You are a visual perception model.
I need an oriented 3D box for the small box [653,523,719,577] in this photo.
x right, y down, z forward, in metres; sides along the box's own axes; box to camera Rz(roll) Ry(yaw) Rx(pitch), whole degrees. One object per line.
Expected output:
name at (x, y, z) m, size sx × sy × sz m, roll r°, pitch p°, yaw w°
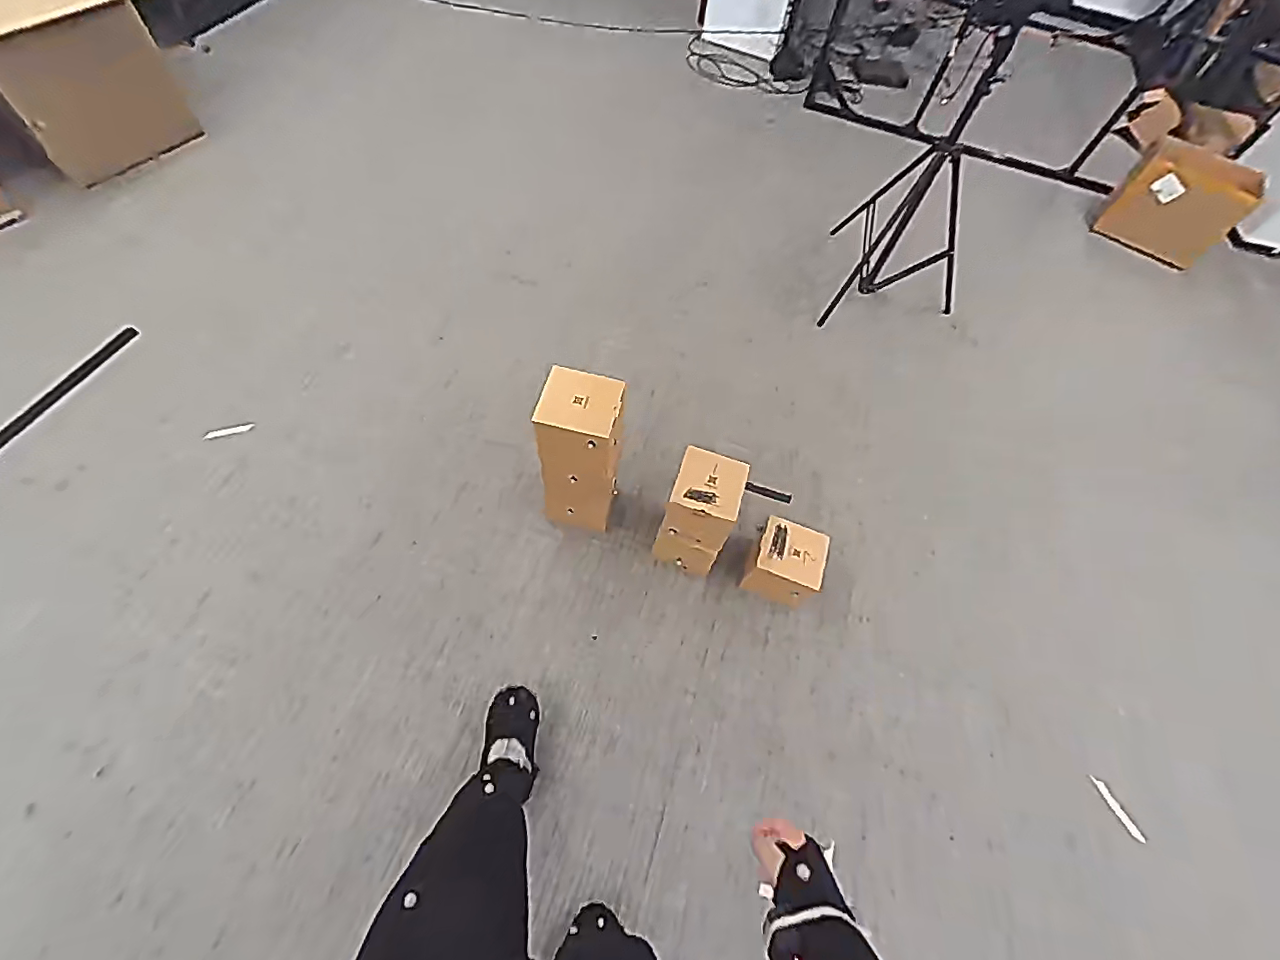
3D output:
small box at (0.144, 0.144, 1.513) m, size 0.168 × 0.176 × 0.179 m, roll 21°, pitch 60°, yaw 6°

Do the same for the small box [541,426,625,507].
small box at (-0.145, -0.046, 1.400) m, size 0.179 × 0.176 × 0.168 m, roll 13°, pitch 61°, yaw 0°

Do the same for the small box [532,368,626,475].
small box at (-0.139, -0.130, 1.259) m, size 0.179 × 0.176 × 0.168 m, roll 13°, pitch 60°, yaw 1°

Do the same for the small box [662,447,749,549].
small box at (0.161, 0.052, 1.376) m, size 0.168 × 0.176 × 0.179 m, roll 19°, pitch 59°, yaw 4°

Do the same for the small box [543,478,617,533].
small box at (-0.165, 0.034, 1.540) m, size 0.179 × 0.176 × 0.168 m, roll 11°, pitch 60°, yaw 1°
